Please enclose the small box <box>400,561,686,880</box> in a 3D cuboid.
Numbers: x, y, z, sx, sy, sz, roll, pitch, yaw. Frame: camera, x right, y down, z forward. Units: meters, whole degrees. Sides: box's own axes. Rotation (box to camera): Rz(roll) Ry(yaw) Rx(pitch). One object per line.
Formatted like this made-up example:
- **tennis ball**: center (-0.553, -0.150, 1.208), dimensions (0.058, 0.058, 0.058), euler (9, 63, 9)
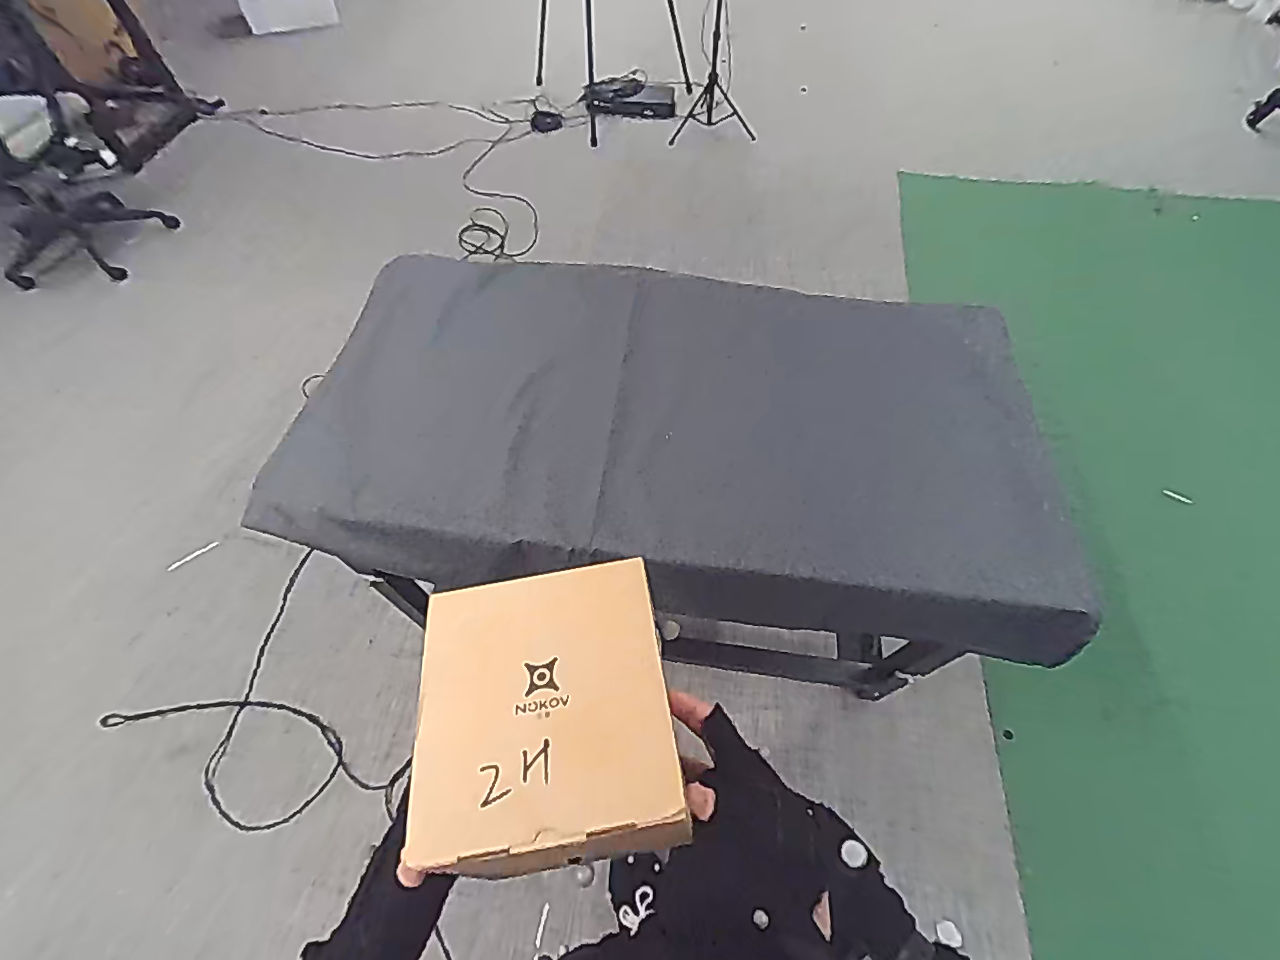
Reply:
- **small box**: center (-0.060, 0.190, 0.421), dimensions (0.168, 0.176, 0.179), euler (-10, 52, -1)
